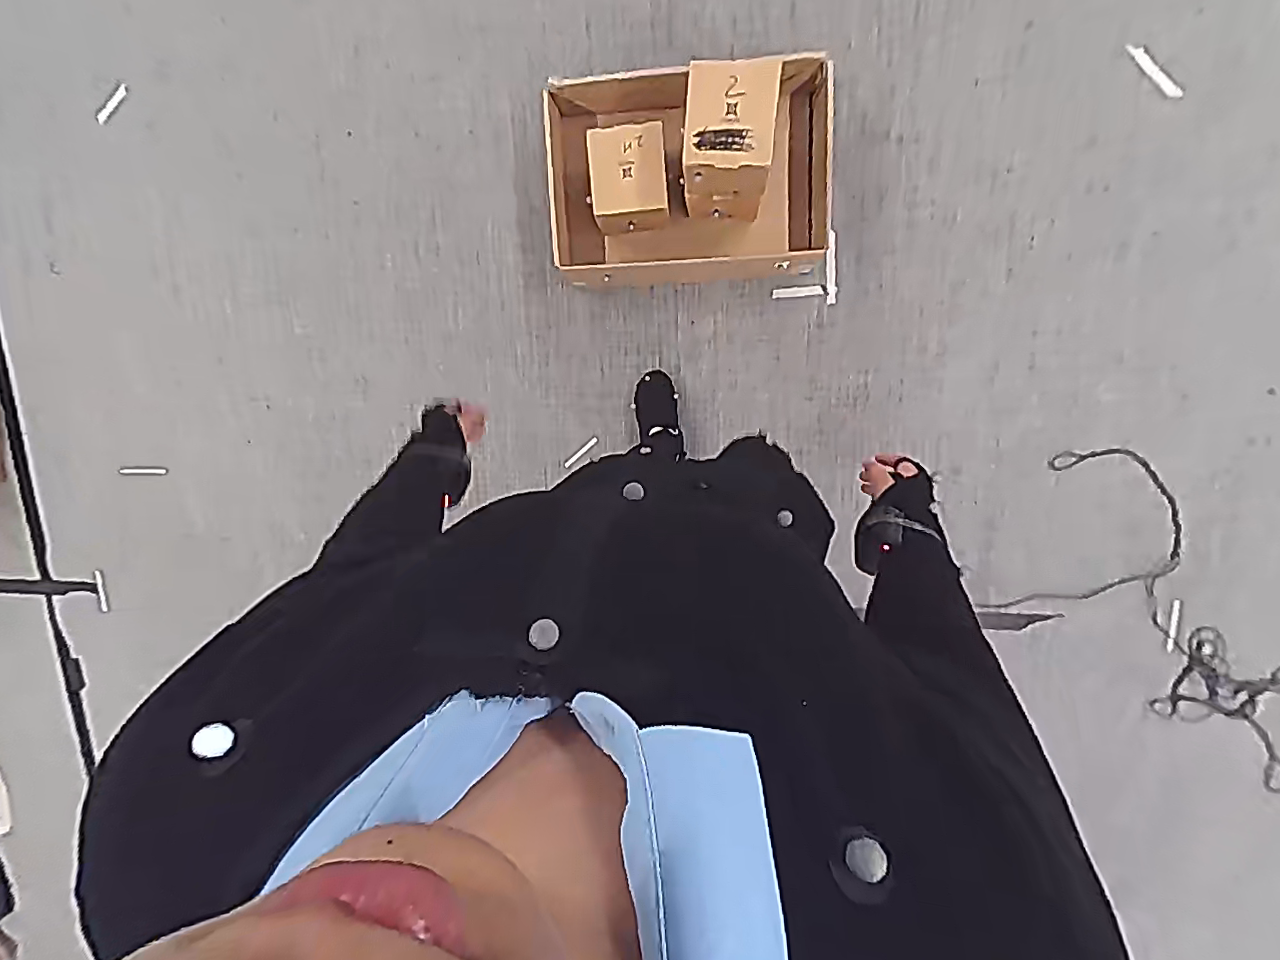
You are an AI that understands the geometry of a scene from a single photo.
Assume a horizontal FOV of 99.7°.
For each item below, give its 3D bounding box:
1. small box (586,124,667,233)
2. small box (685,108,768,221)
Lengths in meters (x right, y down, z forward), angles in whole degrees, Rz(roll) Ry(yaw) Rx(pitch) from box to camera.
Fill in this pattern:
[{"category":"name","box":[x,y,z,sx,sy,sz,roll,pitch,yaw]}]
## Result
[{"category":"small box","box":[-0.025,-0.680,1.243,0.168,0.176,0.179,-4,99,4]},{"category":"small box","box":[0.190,-0.704,1.221,0.168,0.176,0.179,4,101,7]}]
